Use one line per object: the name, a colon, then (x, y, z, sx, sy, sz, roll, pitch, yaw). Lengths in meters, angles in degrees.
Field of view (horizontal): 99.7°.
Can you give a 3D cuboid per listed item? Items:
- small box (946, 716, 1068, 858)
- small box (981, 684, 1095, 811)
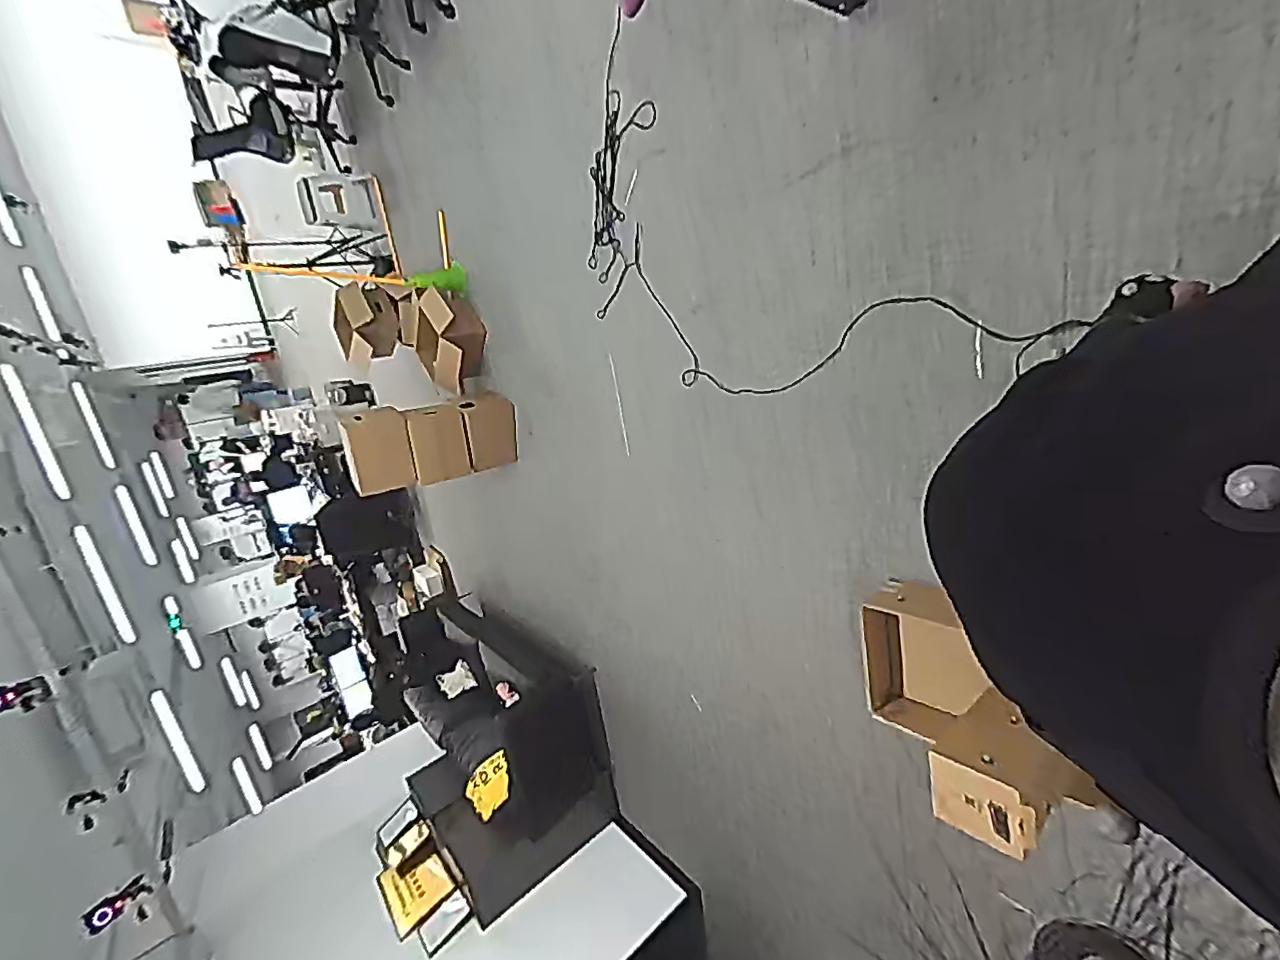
small box: (0.784, 0.637, 1.151, 0.179, 0.176, 0.168, 5, 108, 54)
small box: (0.916, 0.598, 1.240, 0.179, 0.176, 0.168, 5, 108, 54)
